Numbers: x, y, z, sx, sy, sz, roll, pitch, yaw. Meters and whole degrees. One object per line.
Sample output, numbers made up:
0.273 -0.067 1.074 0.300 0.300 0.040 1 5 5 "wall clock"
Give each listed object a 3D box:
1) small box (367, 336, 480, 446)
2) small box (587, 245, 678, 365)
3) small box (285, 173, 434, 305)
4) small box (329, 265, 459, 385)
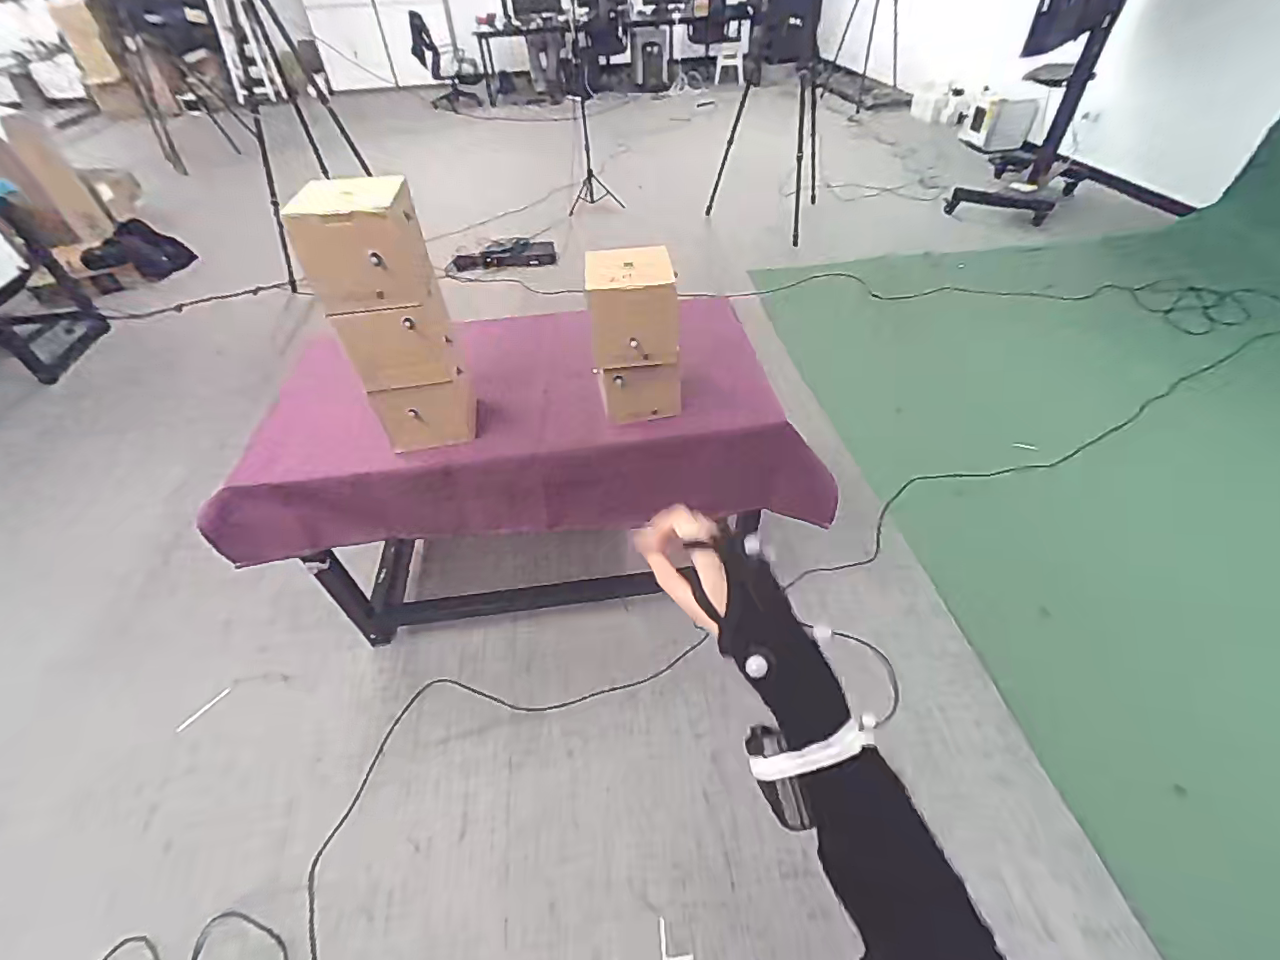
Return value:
-0.464 -0.192 1.186 0.179 0.176 0.168 -9 46 -5 "small box"
-0.015 -0.349 1.079 0.168 0.176 0.179 -5 45 0 "small box"
-0.477 -0.420 0.954 0.168 0.176 0.179 -6 44 -5 "small box"
-0.472 -0.303 1.067 0.179 0.176 0.168 -8 45 -6 "small box"
